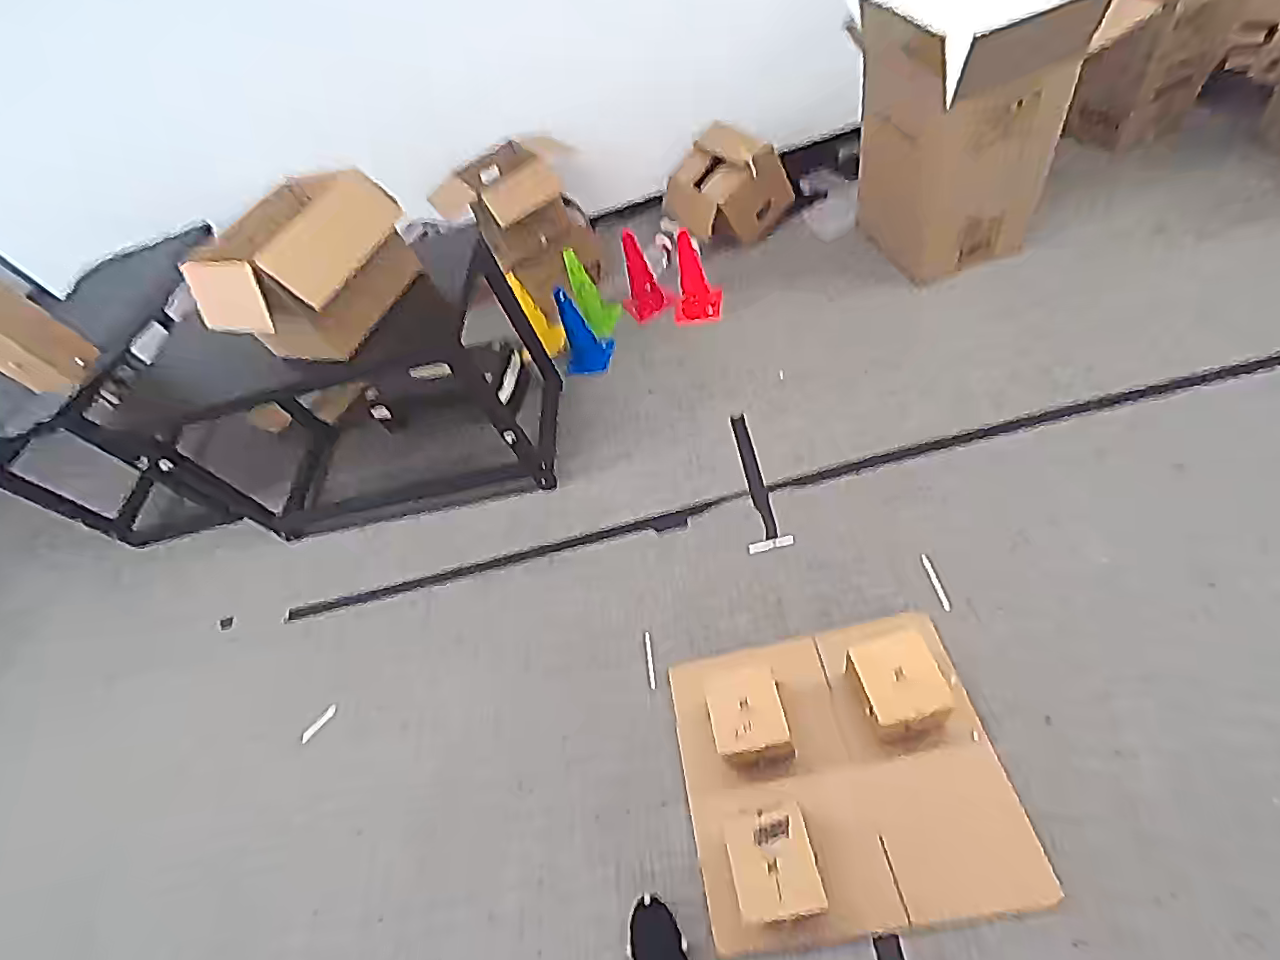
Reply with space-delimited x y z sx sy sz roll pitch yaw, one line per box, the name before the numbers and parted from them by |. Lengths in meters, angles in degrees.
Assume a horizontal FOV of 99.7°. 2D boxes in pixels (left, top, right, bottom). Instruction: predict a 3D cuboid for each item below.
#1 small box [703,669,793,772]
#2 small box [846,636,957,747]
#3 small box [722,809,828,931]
small box | 0.258 0.575 1.287 0.168 0.176 0.179 -17 52 8
small box | 0.588 0.490 1.244 0.168 0.176 0.179 -19 52 5
small box | 0.277 0.802 1.115 0.168 0.176 0.179 -17 53 8
